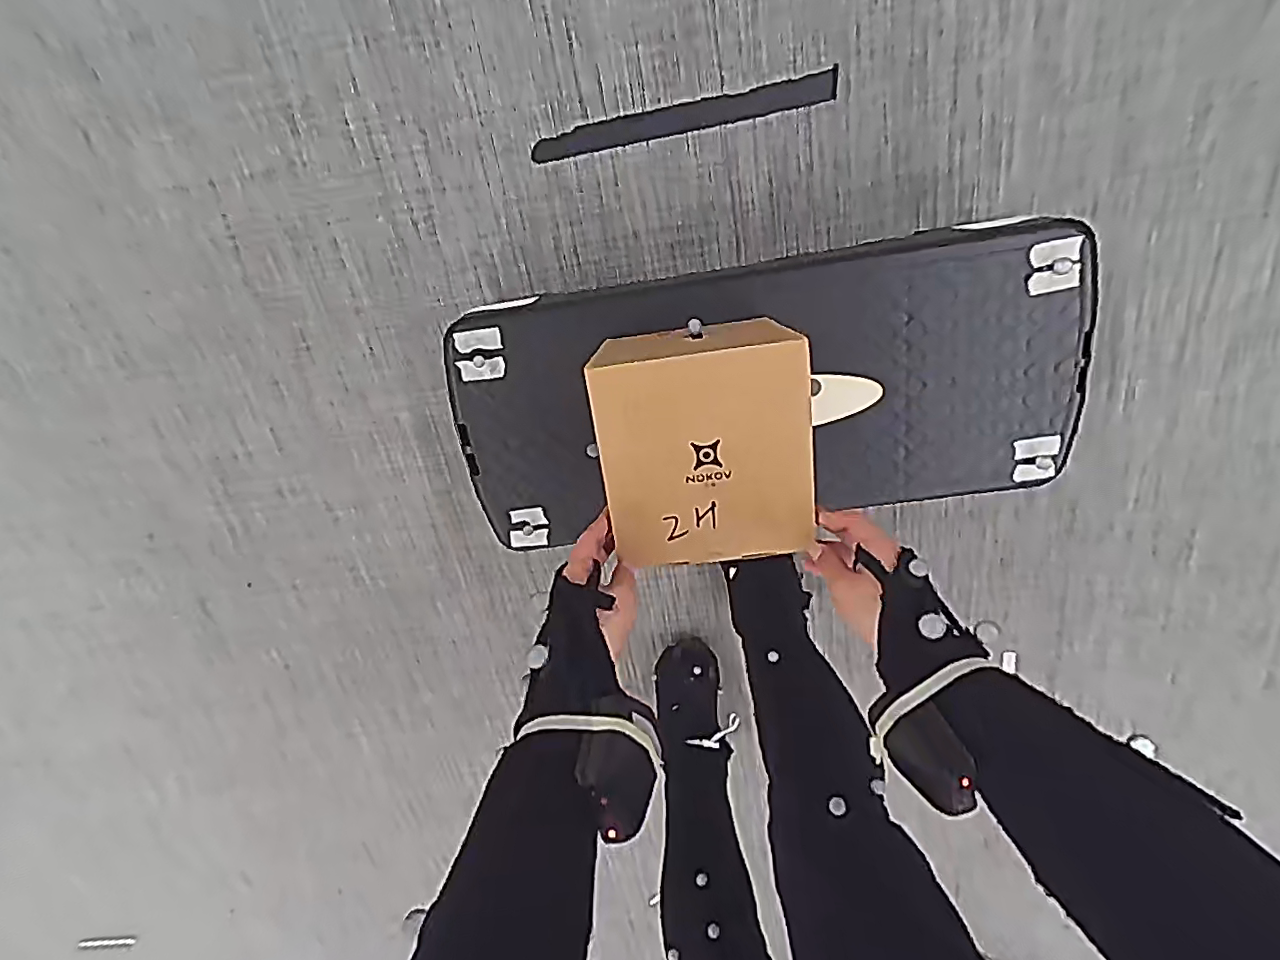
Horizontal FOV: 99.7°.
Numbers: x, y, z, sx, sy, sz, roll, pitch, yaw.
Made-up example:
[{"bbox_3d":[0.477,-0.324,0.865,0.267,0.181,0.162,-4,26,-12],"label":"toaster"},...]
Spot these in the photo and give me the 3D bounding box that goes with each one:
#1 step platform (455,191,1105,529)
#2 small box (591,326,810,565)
[{"bbox_3d":[0.140,-0.134,0.650,0.684,0.204,0.286,-8,110,6],"label":"step platform"},{"bbox_3d":[0.054,-0.044,0.502,0.168,0.176,0.179,-6,111,5],"label":"small box"}]
